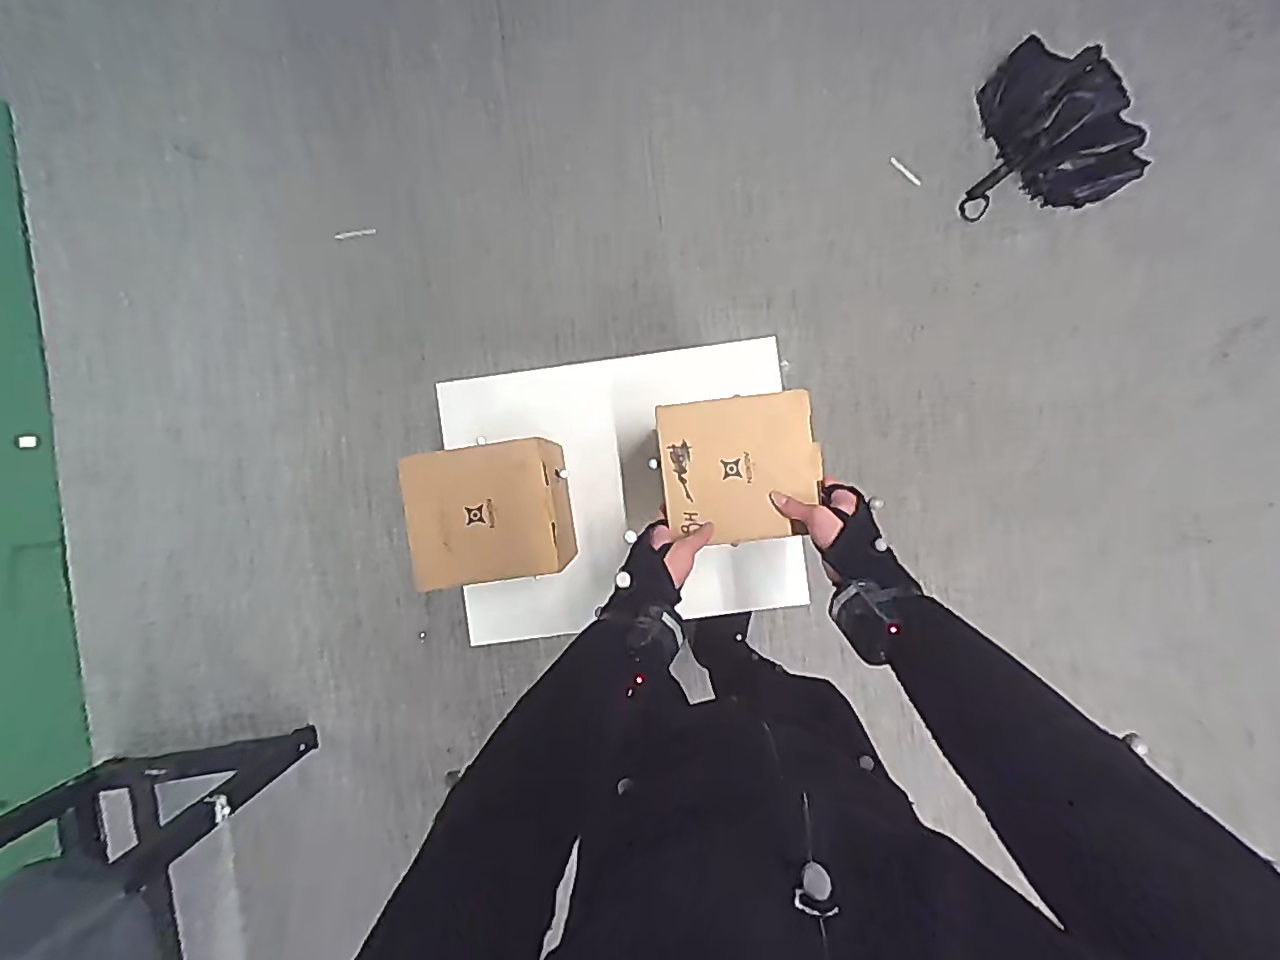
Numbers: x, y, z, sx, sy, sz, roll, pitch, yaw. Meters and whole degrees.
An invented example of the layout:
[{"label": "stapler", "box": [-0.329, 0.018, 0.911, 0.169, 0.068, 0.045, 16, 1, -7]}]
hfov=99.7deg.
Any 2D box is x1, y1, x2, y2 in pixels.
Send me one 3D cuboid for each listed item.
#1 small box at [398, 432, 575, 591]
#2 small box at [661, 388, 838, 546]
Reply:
[{"label": "small box", "box": [-0.181, 0.037, 0.693, 0.179, 0.176, 0.168, -8, 87, -1]}, {"label": "small box", "box": [0.123, -0.012, 0.675, 0.179, 0.176, 0.168, -5, 87, -1]}]
